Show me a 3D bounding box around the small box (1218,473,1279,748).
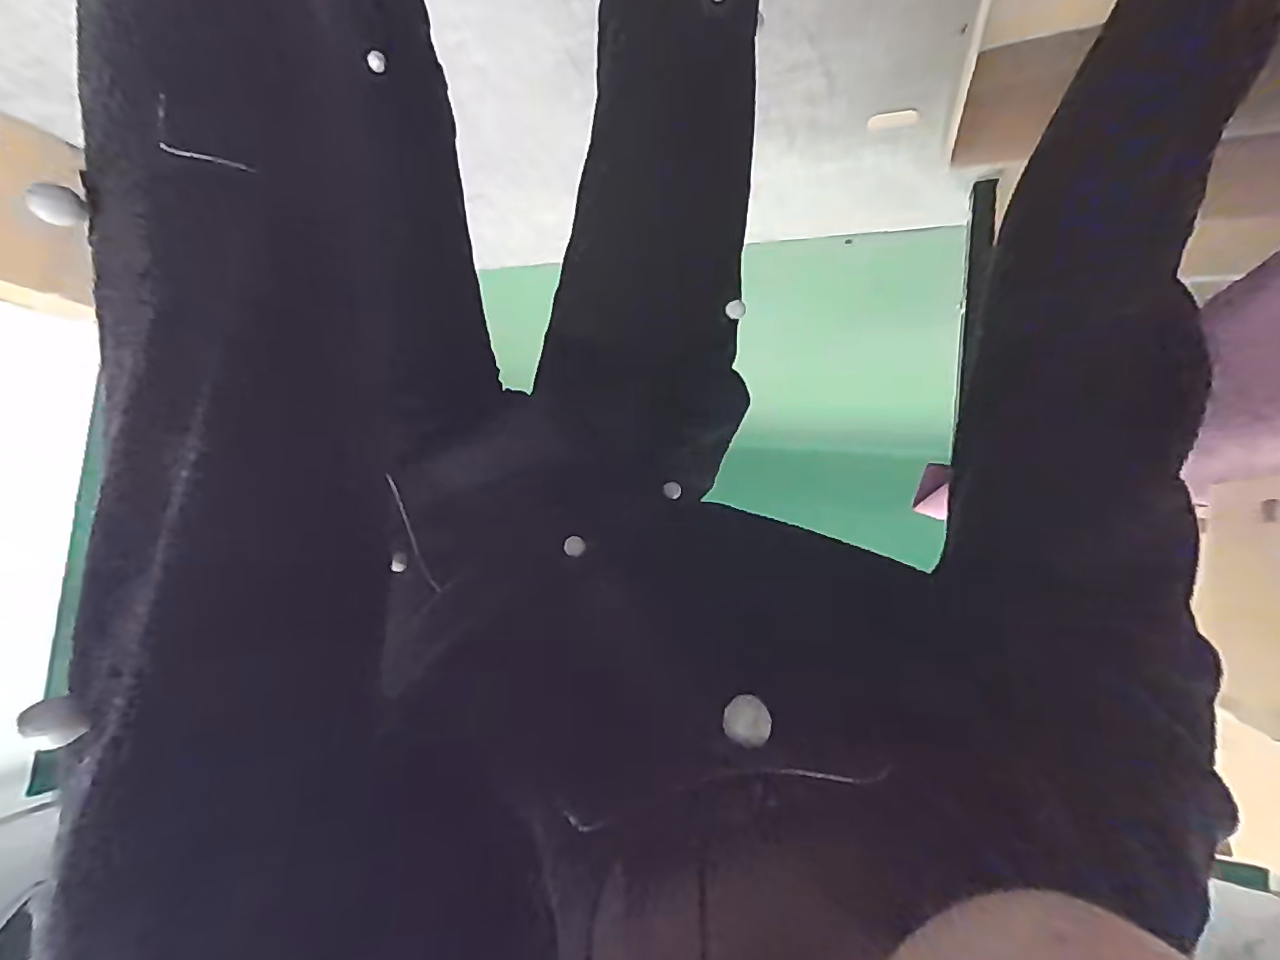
[{"bbox_3d":[0.457,0.080,0.273,0.179,0.176,0.168,4,175,22],"label":"small box"}]
